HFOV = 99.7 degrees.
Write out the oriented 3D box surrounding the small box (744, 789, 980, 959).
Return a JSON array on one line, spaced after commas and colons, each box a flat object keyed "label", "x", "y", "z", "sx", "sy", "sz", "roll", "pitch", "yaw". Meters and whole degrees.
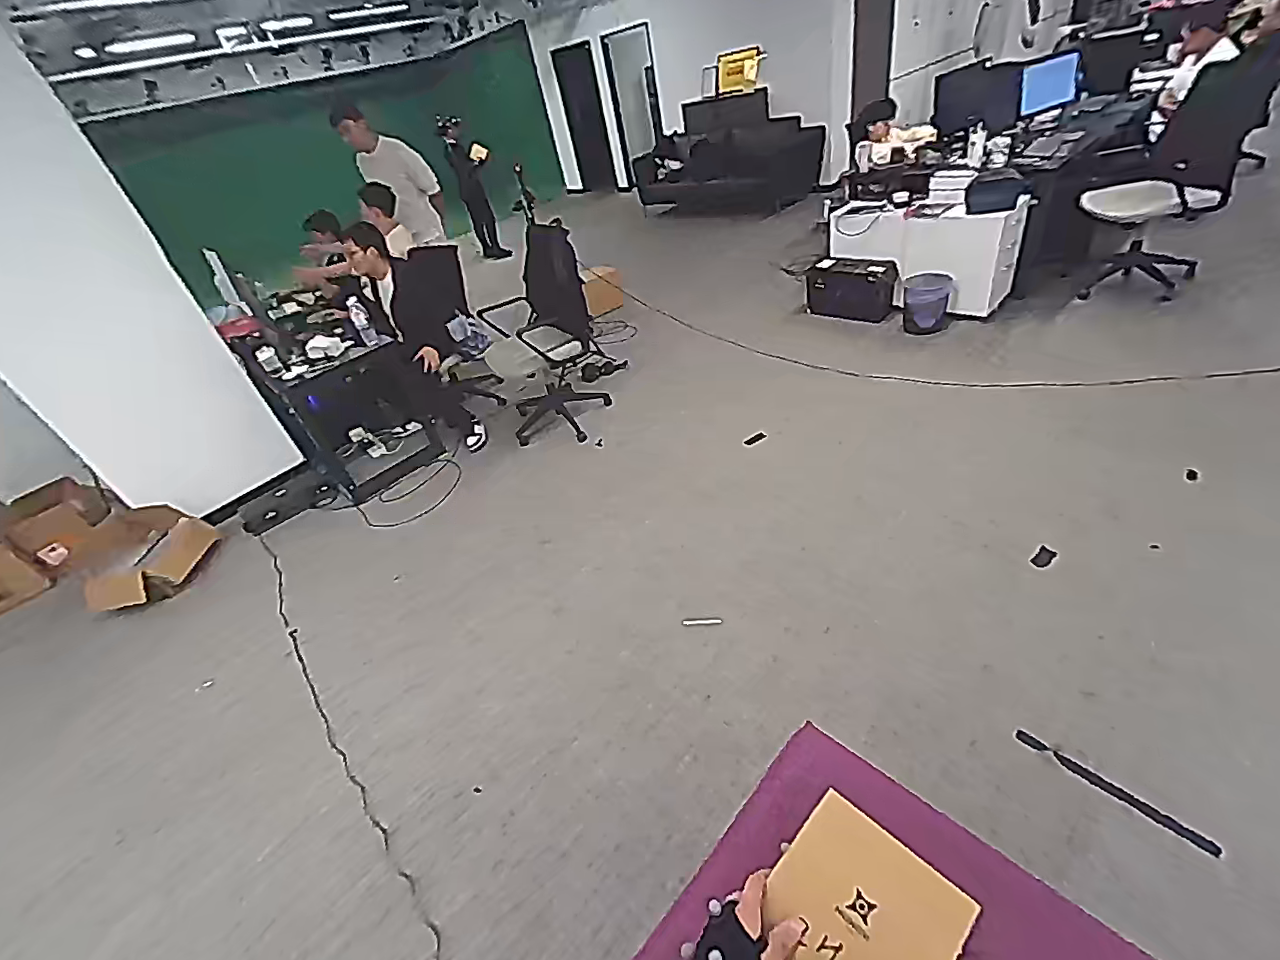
[{"label": "small box", "x": 0.234, "y": 0.496, "z": 0.592, "sx": 0.179, "sy": 0.176, "sz": 0.168, "roll": -36, "pitch": 42, "yaw": -27}]
